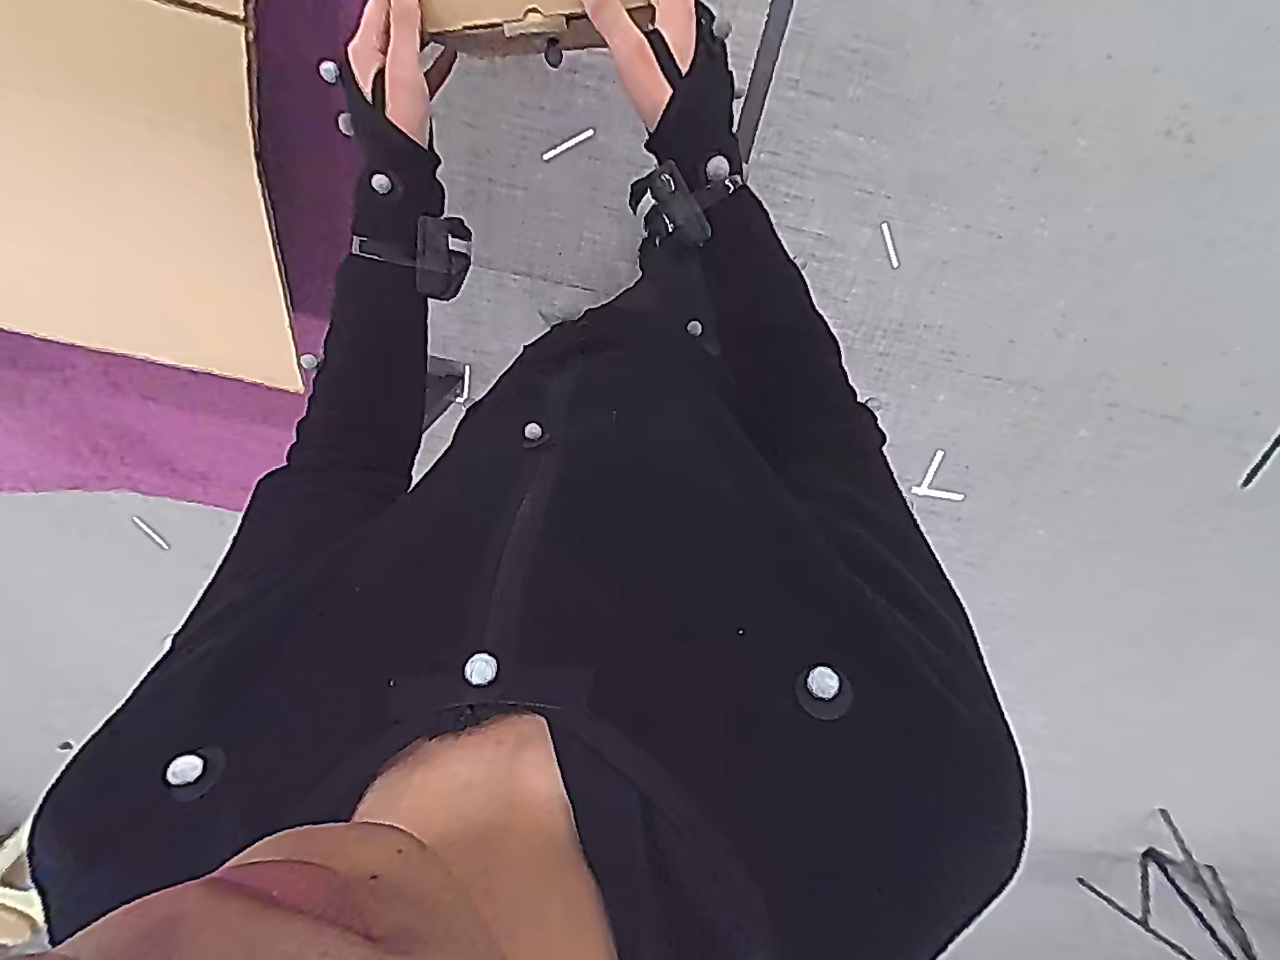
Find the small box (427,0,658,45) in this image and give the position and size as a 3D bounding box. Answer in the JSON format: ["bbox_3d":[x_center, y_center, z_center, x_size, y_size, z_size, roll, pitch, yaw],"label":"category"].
[{"bbox_3d":[-0.071,-0.441,0.400,0.168,0.176,0.179,-3,124,2],"label":"small box"}]
